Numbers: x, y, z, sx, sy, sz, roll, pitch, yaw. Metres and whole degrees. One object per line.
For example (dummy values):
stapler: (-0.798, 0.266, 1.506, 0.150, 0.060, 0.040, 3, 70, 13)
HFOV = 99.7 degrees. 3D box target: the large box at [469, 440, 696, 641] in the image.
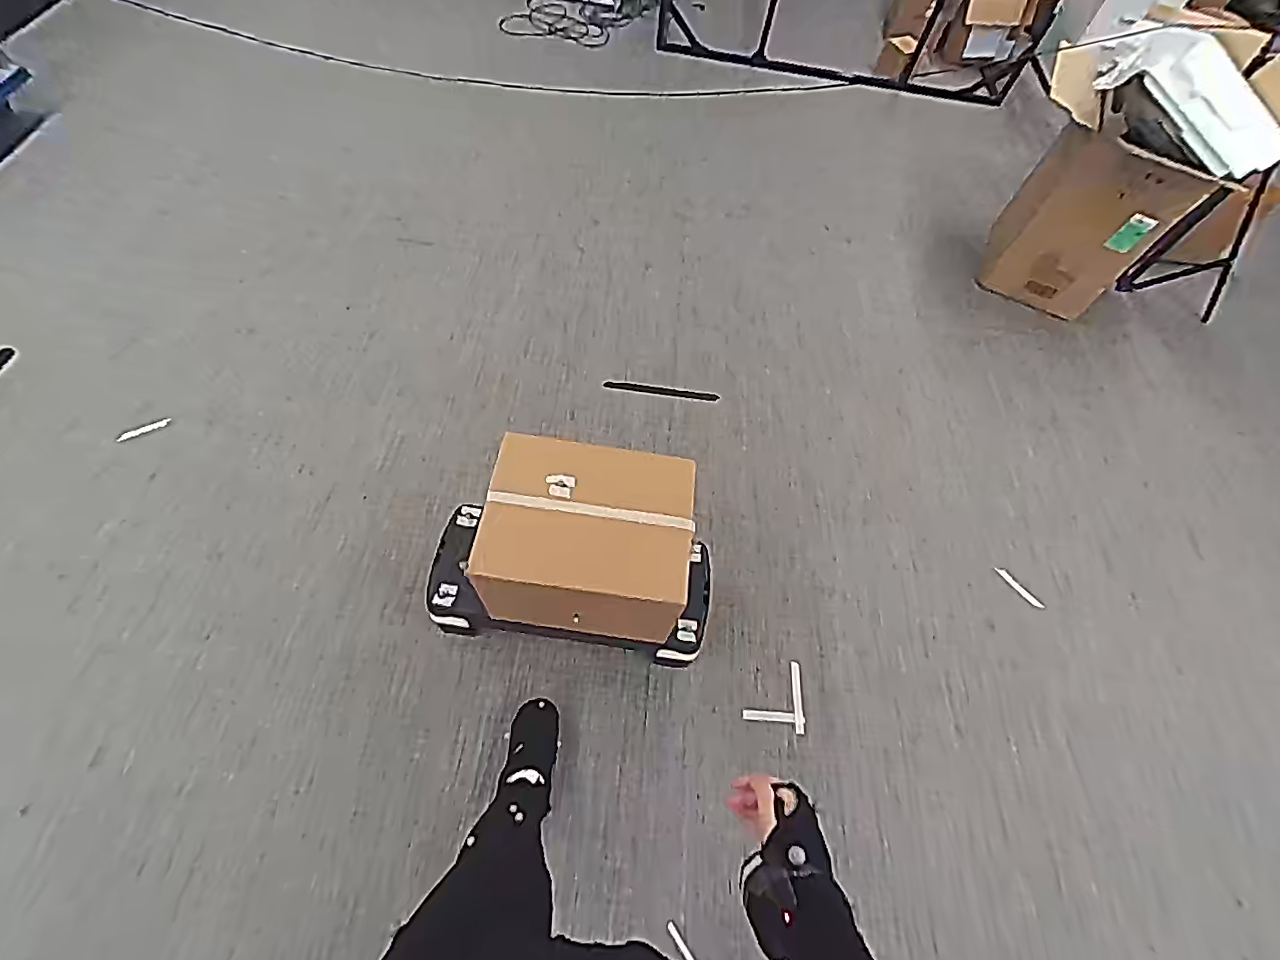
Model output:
large box: (-0.103, 0.144, 1.167, 0.408, 0.320, 0.320, 8, 59, -1)

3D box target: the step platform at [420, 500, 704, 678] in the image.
step platform: (-0.181, 0.270, 1.362, 0.684, 0.204, 0.286, 13, 60, 2)
